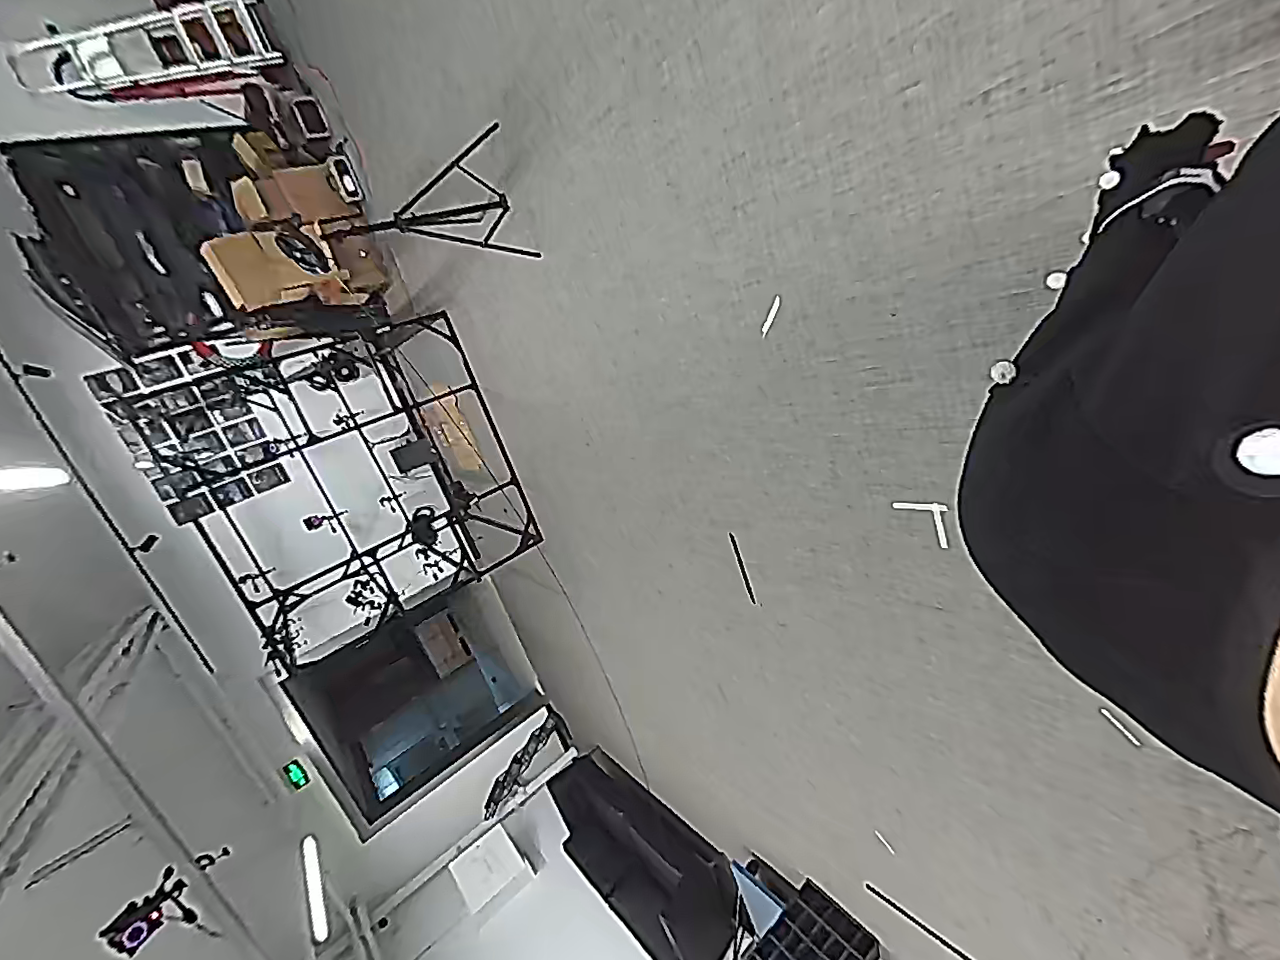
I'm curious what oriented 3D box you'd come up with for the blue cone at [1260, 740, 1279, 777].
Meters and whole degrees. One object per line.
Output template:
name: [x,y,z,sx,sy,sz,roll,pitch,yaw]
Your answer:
blue cone: [1.435,0.727,1.132,0.193,0.380,0.192,32,140,42]
